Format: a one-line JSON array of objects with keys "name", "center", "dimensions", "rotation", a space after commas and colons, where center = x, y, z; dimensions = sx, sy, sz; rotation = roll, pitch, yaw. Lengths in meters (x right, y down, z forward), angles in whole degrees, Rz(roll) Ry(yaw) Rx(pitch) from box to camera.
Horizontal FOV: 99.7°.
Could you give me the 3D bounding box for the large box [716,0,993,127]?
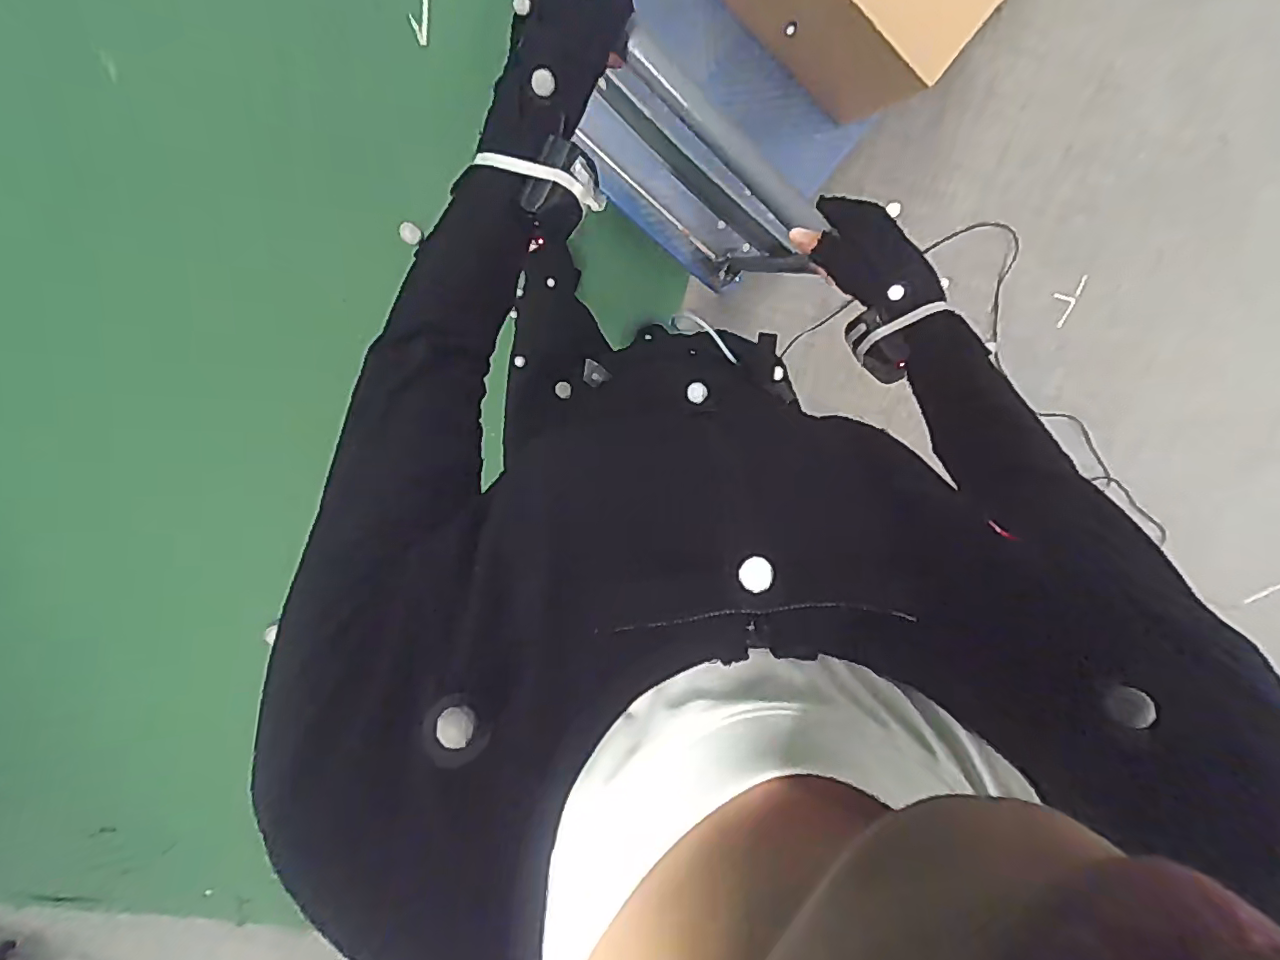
[{"name": "large box", "center": [0.335, -0.838, 0.821], "dimensions": [0.408, 0.320, 0.320], "rotation": [35, 107, -15]}]
